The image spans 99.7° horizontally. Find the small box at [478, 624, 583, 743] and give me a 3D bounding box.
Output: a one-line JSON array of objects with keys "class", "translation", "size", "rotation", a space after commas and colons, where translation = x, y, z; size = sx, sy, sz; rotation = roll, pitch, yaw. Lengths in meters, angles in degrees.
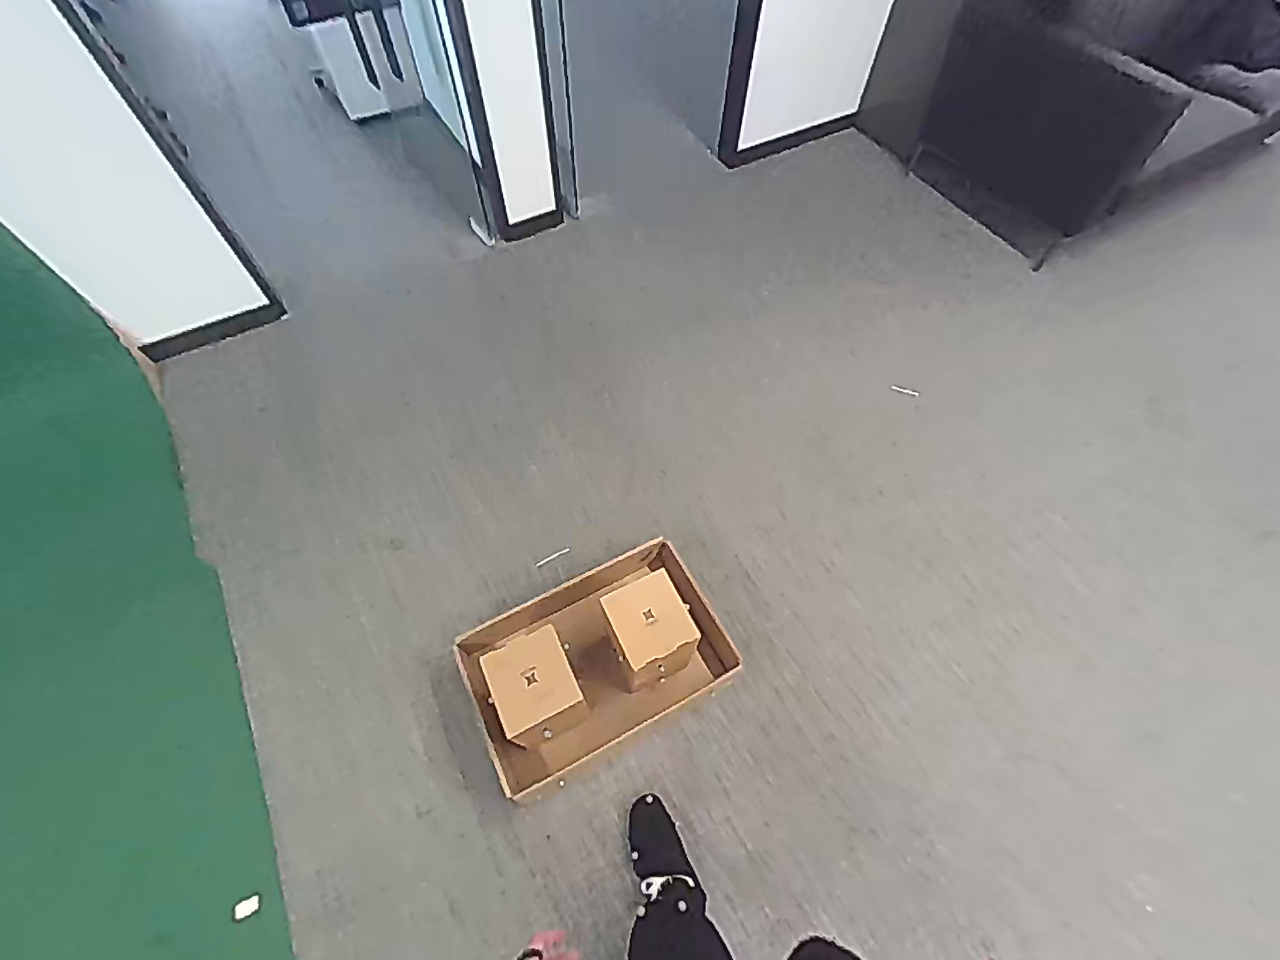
[{"class": "small box", "translation": [-0.232, 0.443, 1.169], "size": [0.168, 0.176, 0.179], "rotation": [-22, 64, -15]}]

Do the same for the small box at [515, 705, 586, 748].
[{"class": "small box", "translation": [-0.239, 0.523, 1.311], "size": [0.168, 0.176, 0.179], "rotation": [-22, 62, -14]}]

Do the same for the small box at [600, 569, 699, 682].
[{"class": "small box", "translation": [0.015, 0.338, 1.242], "size": [0.168, 0.176, 0.179], "rotation": [-23, 64, -14]}]
